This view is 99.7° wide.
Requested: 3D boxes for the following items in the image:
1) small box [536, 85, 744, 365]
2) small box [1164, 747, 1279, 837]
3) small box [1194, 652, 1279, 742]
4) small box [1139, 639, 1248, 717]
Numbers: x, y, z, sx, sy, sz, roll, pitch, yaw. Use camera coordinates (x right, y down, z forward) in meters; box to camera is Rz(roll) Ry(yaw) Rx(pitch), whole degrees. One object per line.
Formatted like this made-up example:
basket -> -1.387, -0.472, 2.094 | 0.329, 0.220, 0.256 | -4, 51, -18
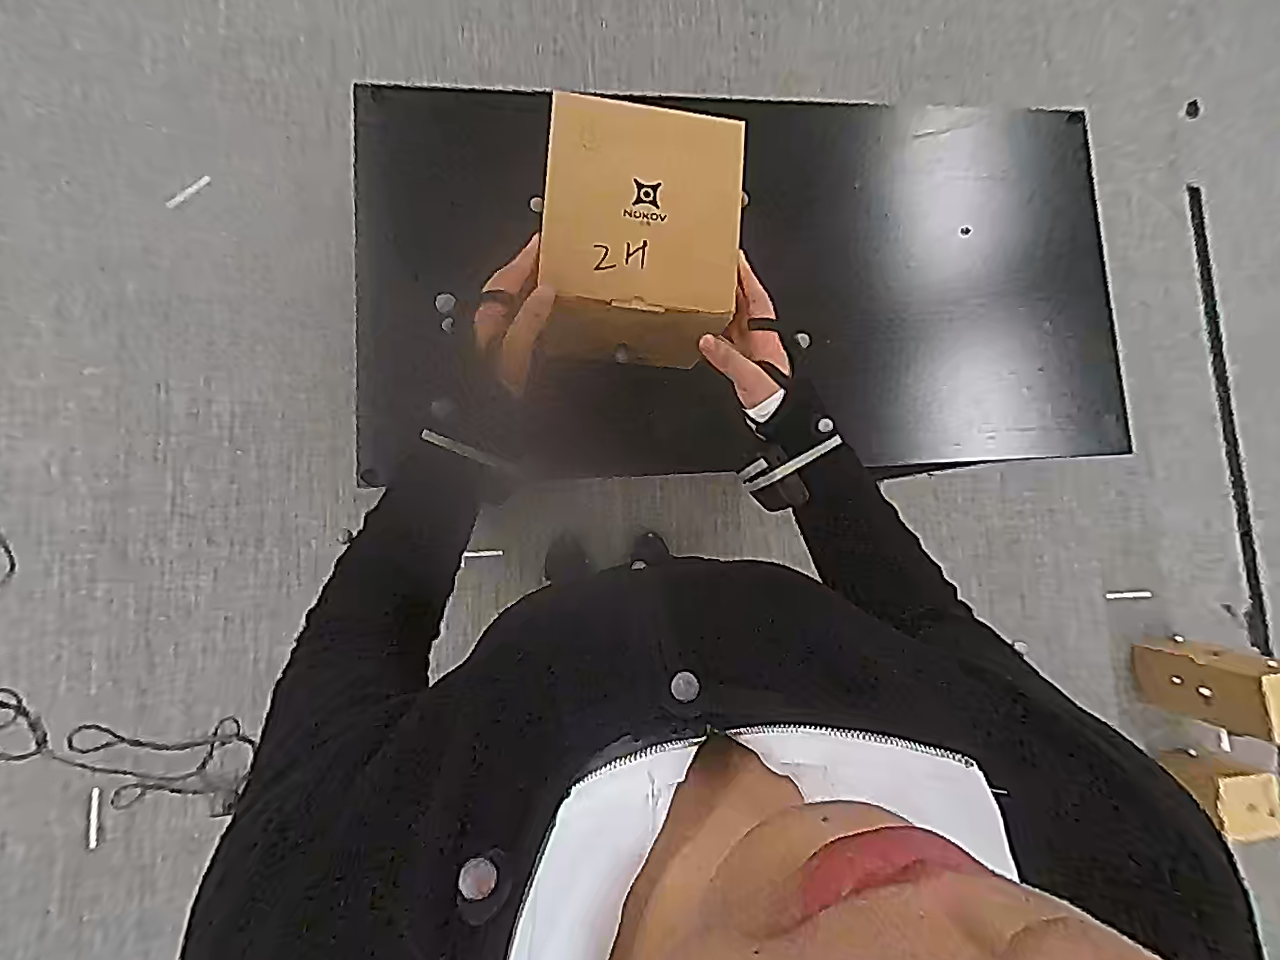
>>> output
small box -> -0.007, -0.226, 0.523 | 0.168, 0.176, 0.179 | 4, 86, -6
small box -> 1.644, 0.876, 1.532 | 0.179, 0.176, 0.168 | -2, 85, -5
small box -> 1.606, 0.549, 1.393 | 0.179, 0.176, 0.168 | -6, 84, -5
small box -> 1.592, 0.561, 1.554 | 0.168, 0.176, 0.179 | -4, 86, -6
